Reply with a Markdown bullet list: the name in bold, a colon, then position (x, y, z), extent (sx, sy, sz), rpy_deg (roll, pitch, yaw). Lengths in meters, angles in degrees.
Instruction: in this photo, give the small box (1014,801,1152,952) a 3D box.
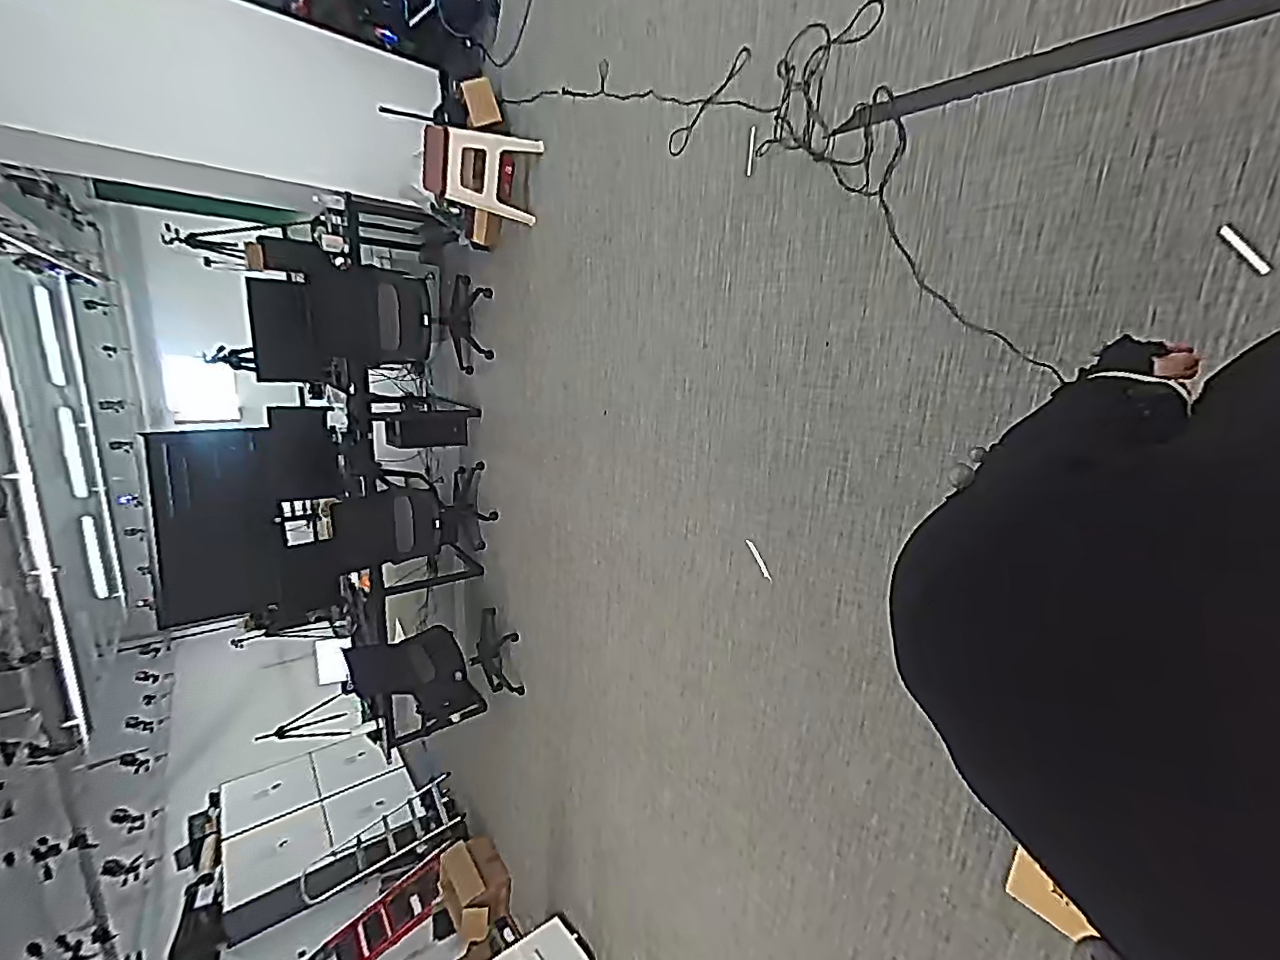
- **small box**: position (0.951, 0.832, 1.163), extent (0.179, 0.176, 0.168), rpy_deg (21, 113, 48)
